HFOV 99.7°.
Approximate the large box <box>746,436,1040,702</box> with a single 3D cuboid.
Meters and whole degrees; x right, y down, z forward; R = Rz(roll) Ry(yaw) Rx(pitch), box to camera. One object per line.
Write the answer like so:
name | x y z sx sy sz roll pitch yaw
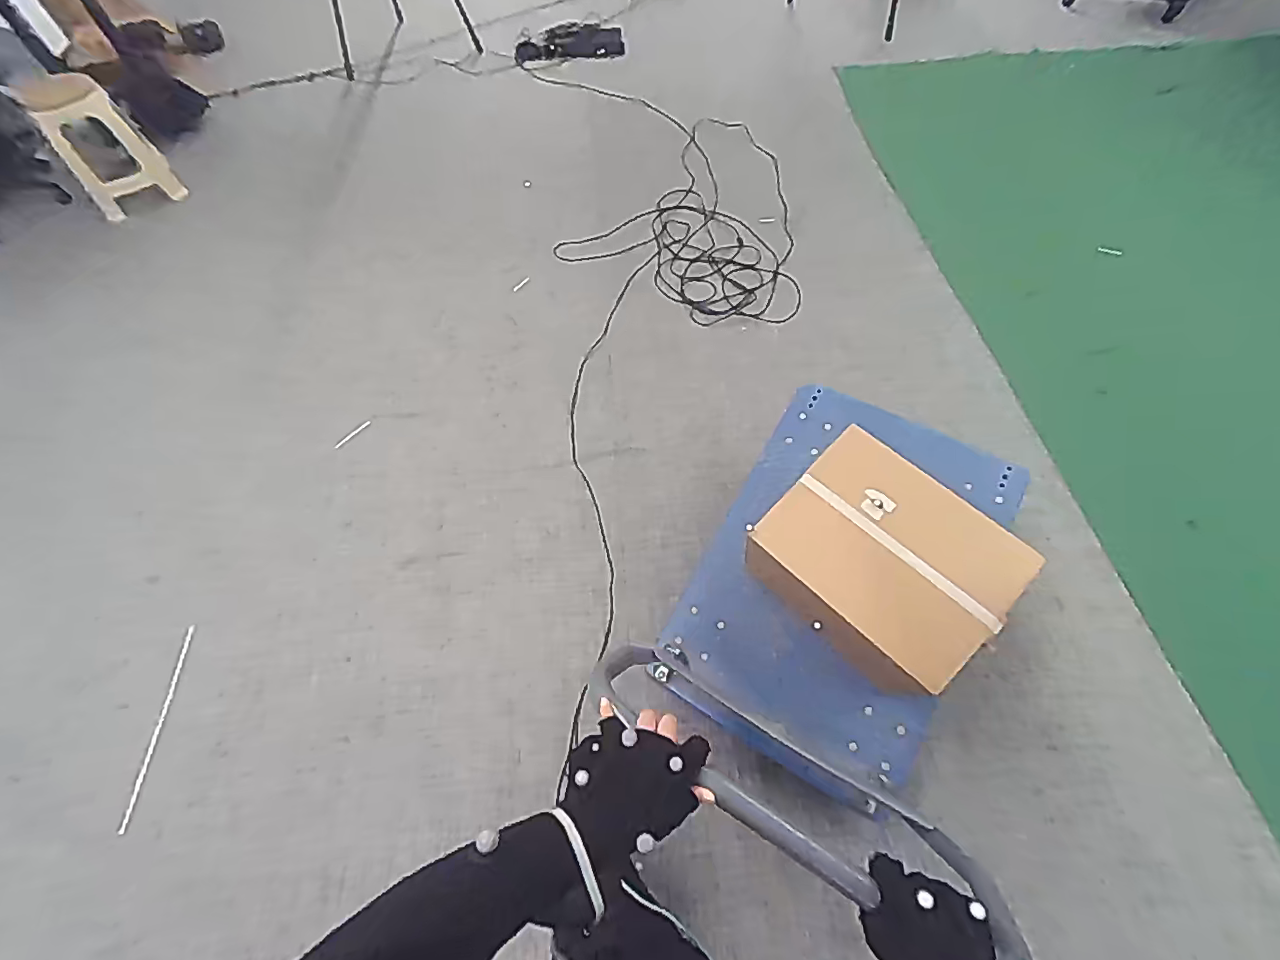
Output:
large box | 0.470 0.192 1.108 0.320 0.320 0.408 -44 67 -9
